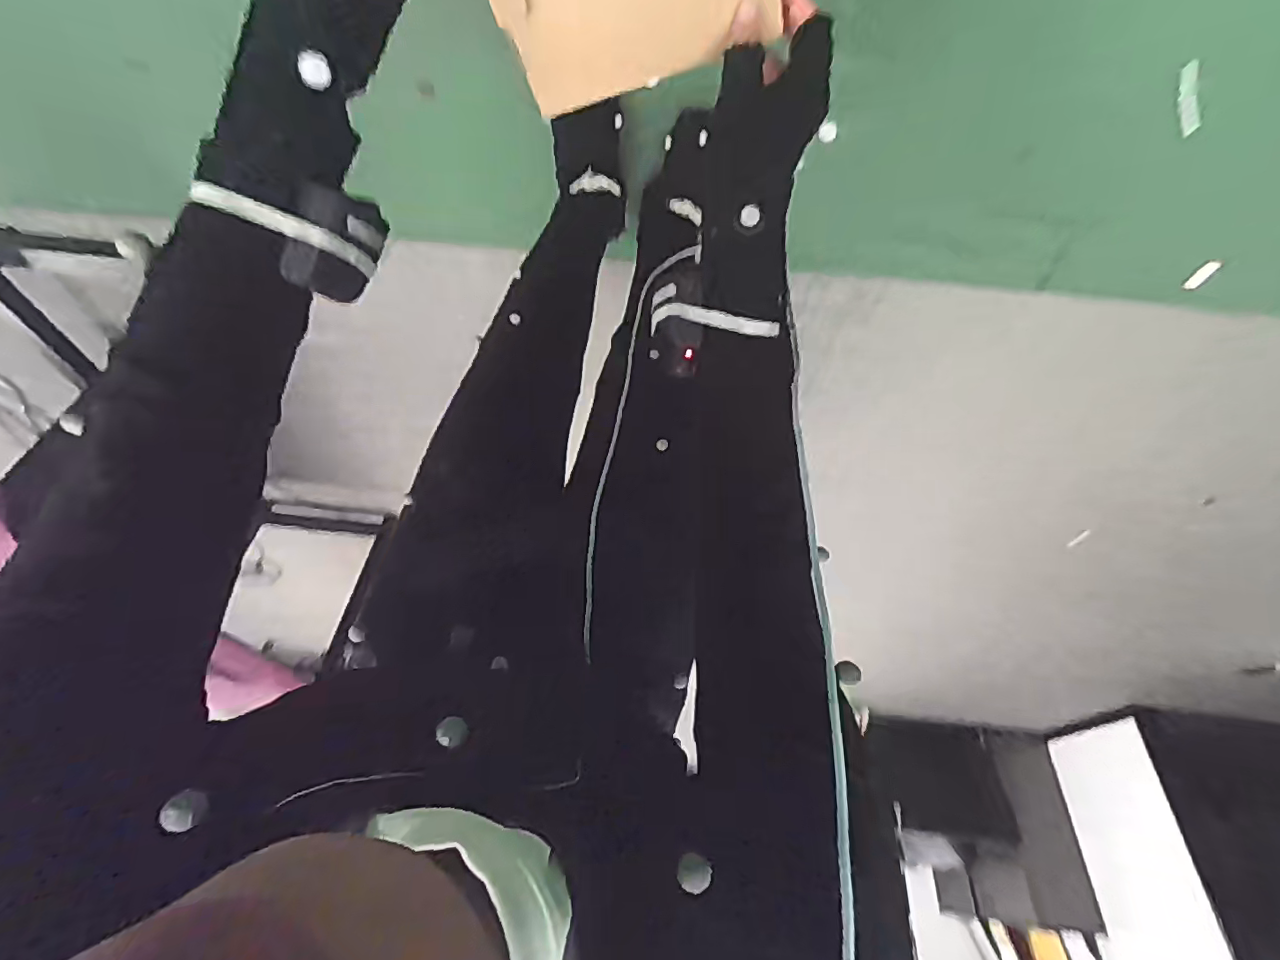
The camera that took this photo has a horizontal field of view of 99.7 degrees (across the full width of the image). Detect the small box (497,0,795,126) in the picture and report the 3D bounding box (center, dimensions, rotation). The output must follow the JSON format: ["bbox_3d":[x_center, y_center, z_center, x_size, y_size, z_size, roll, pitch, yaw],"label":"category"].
[{"bbox_3d":[-0.005,-0.377,0.343,0.179,0.176,0.168,-7,150,17],"label":"small box"}]
